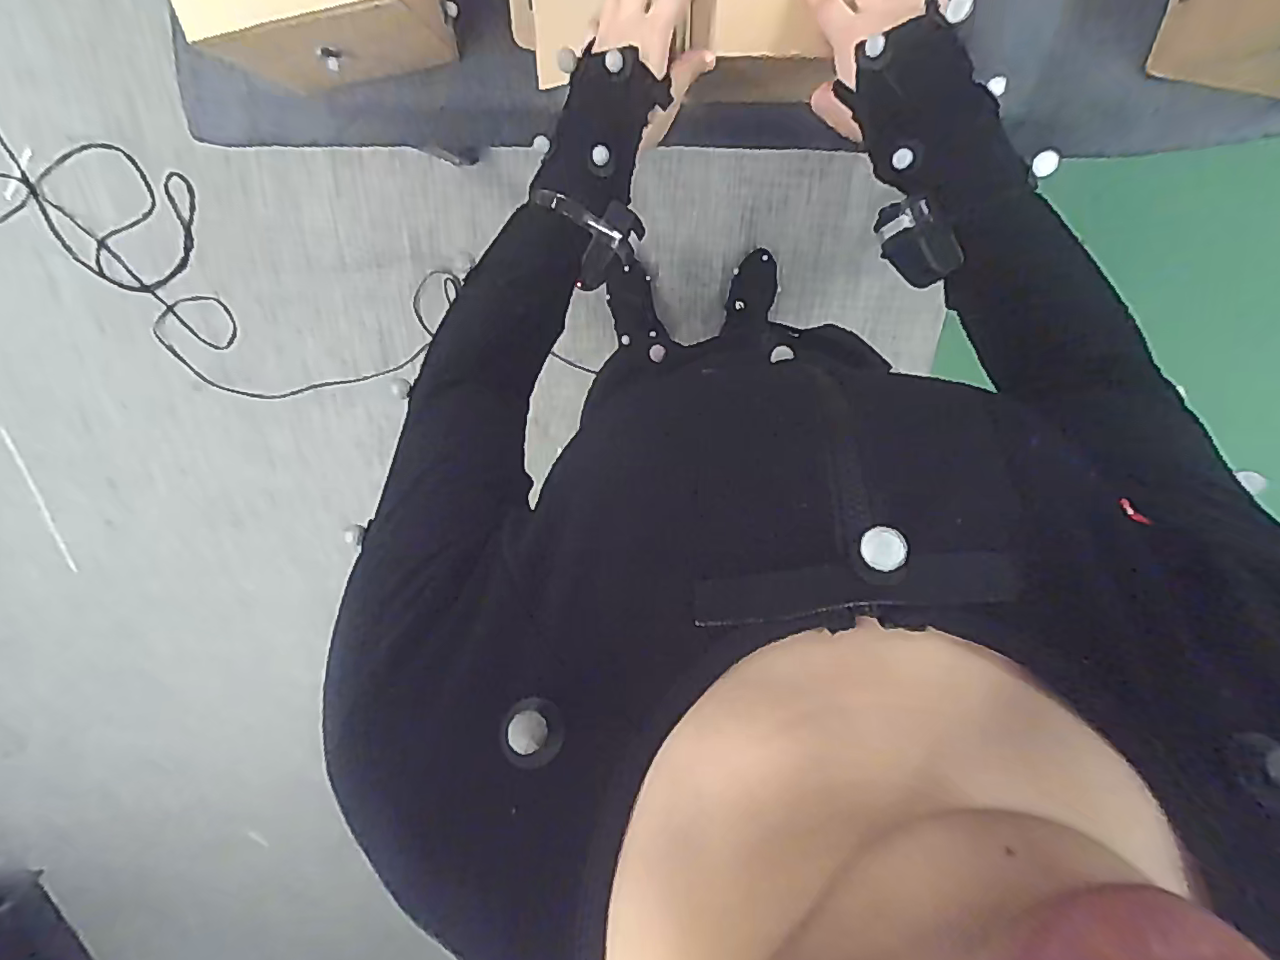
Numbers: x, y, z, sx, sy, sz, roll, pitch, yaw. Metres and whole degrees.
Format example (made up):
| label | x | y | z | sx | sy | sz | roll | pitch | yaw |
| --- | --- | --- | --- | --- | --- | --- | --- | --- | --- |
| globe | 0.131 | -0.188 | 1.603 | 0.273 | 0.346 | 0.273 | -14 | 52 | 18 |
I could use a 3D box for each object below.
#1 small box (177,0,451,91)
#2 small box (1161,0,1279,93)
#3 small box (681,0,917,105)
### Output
| label | x | y | z | sx | sy | sz | roll | pitch | yaw |
| --- | --- | --- | --- | --- | --- | --- | --- | --- | --- |
| small box | -0.280 | -0.460 | 0.461 | 0.179 | 0.176 | 0.168 | -9 | 114 | 5 |
| small box | 0.617 | -0.455 | 0.455 | 0.179 | 0.176 | 0.168 | 7 | 110 | -2 |
| small box | 0.126 | -0.442 | 0.469 | 0.179 | 0.176 | 0.168 | -2 | 114 | 1 |
